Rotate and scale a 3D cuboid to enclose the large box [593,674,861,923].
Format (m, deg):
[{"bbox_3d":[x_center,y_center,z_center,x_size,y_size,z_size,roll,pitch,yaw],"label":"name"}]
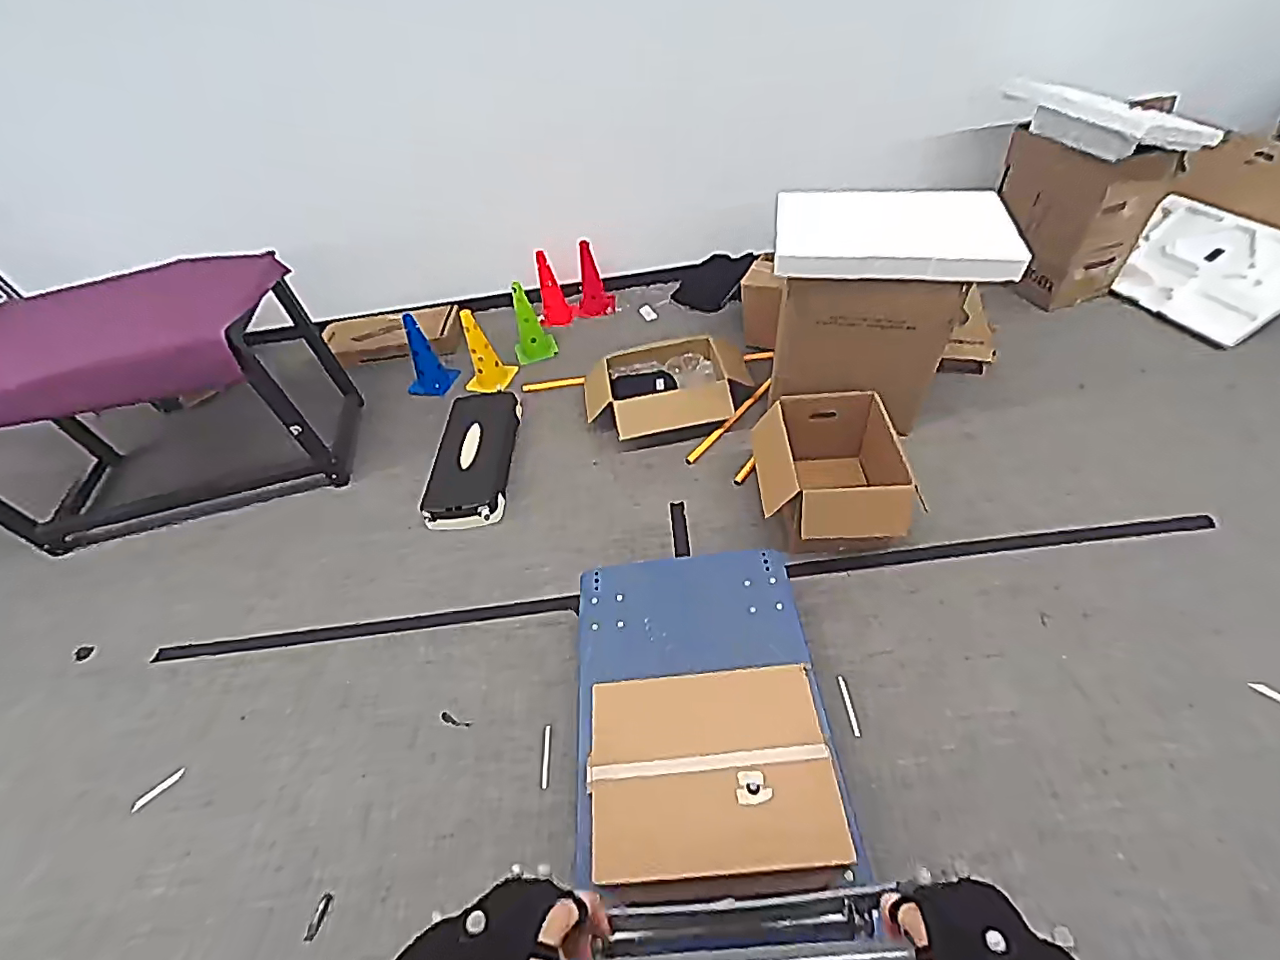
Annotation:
[{"bbox_3d":[0.132,0.593,1.004,0.408,0.320,0.320,-6,47,2],"label":"large box"}]
